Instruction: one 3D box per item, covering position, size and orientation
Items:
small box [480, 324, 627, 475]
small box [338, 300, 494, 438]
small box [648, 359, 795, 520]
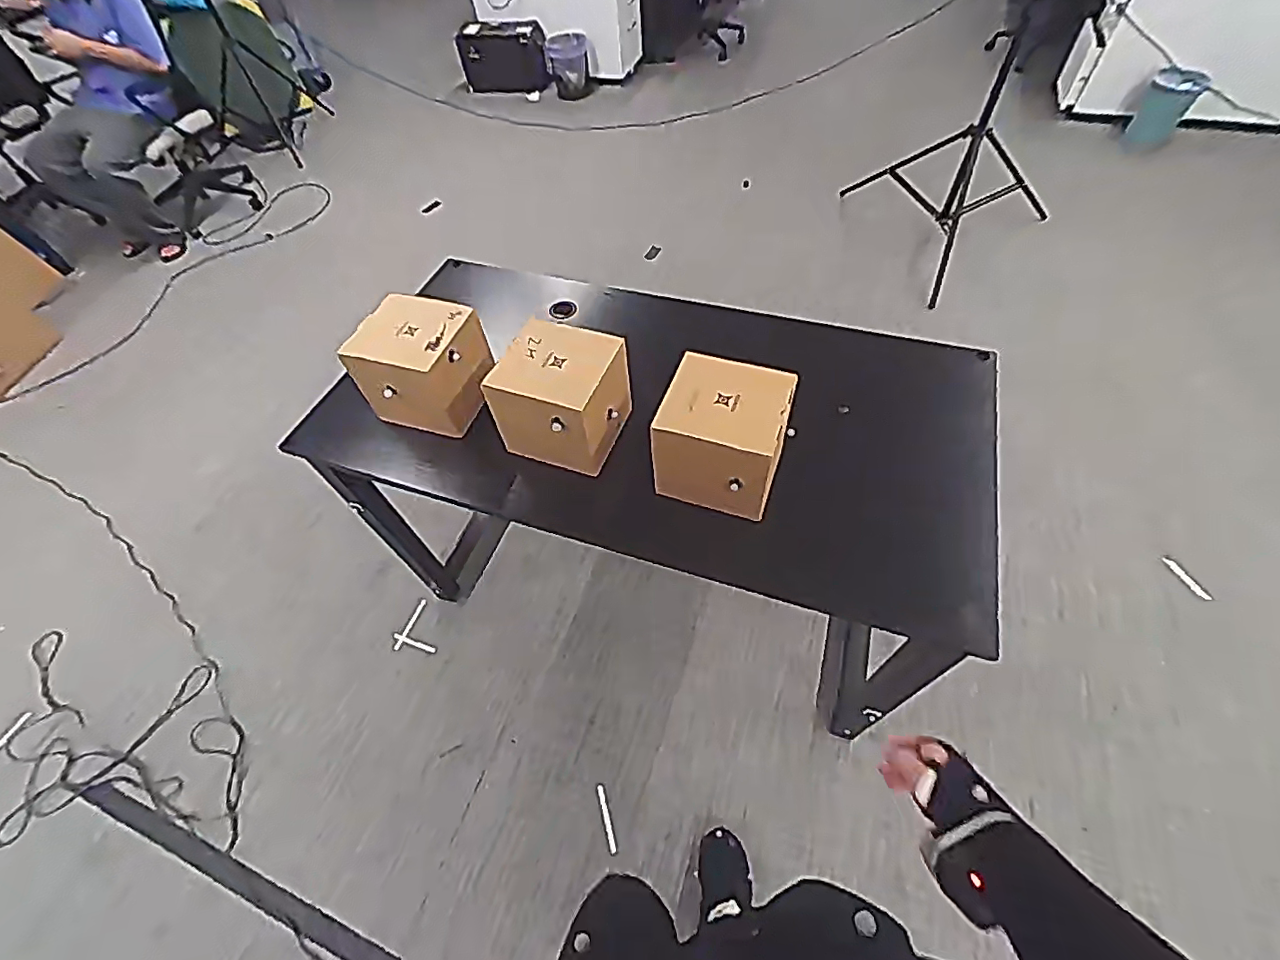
[{"bbox_3d":[-0.131,-0.130,0.908,0.179,0.176,0.168,16,57,15],"label":"small box"},{"bbox_3d":[-0.387,-0.196,0.976,0.179,0.176,0.168,13,57,13],"label":"small box"},{"bbox_3d":[0.125,-0.058,0.840,0.179,0.176,0.168,14,56,15],"label":"small box"}]
